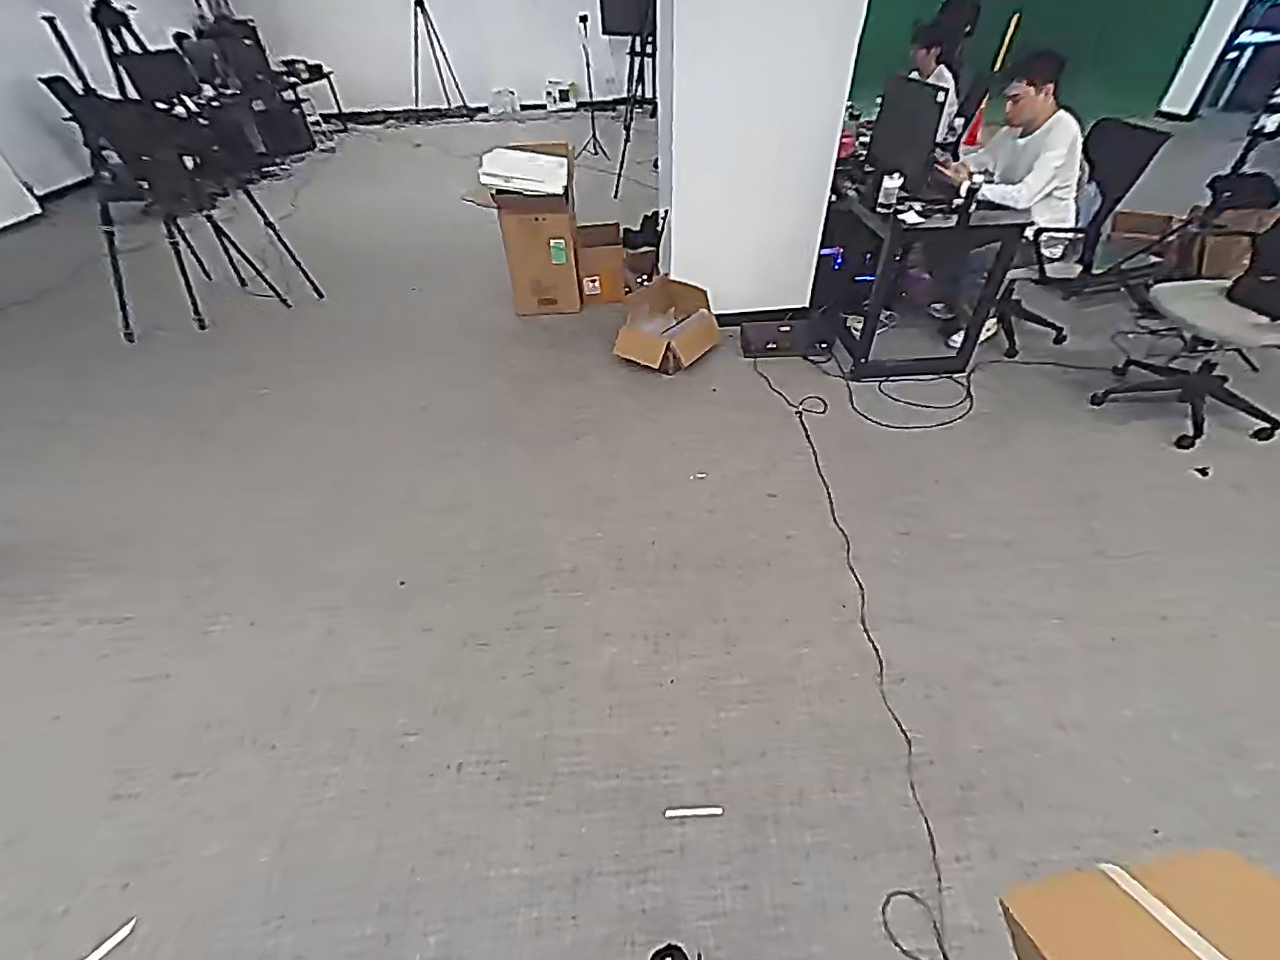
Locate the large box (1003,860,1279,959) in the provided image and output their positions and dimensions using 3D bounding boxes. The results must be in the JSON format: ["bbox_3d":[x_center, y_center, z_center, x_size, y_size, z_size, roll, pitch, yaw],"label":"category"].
[{"bbox_3d":[0.670,0.686,0.546,0.320,0.408,0.320,-15,85,6],"label":"large box"}]
